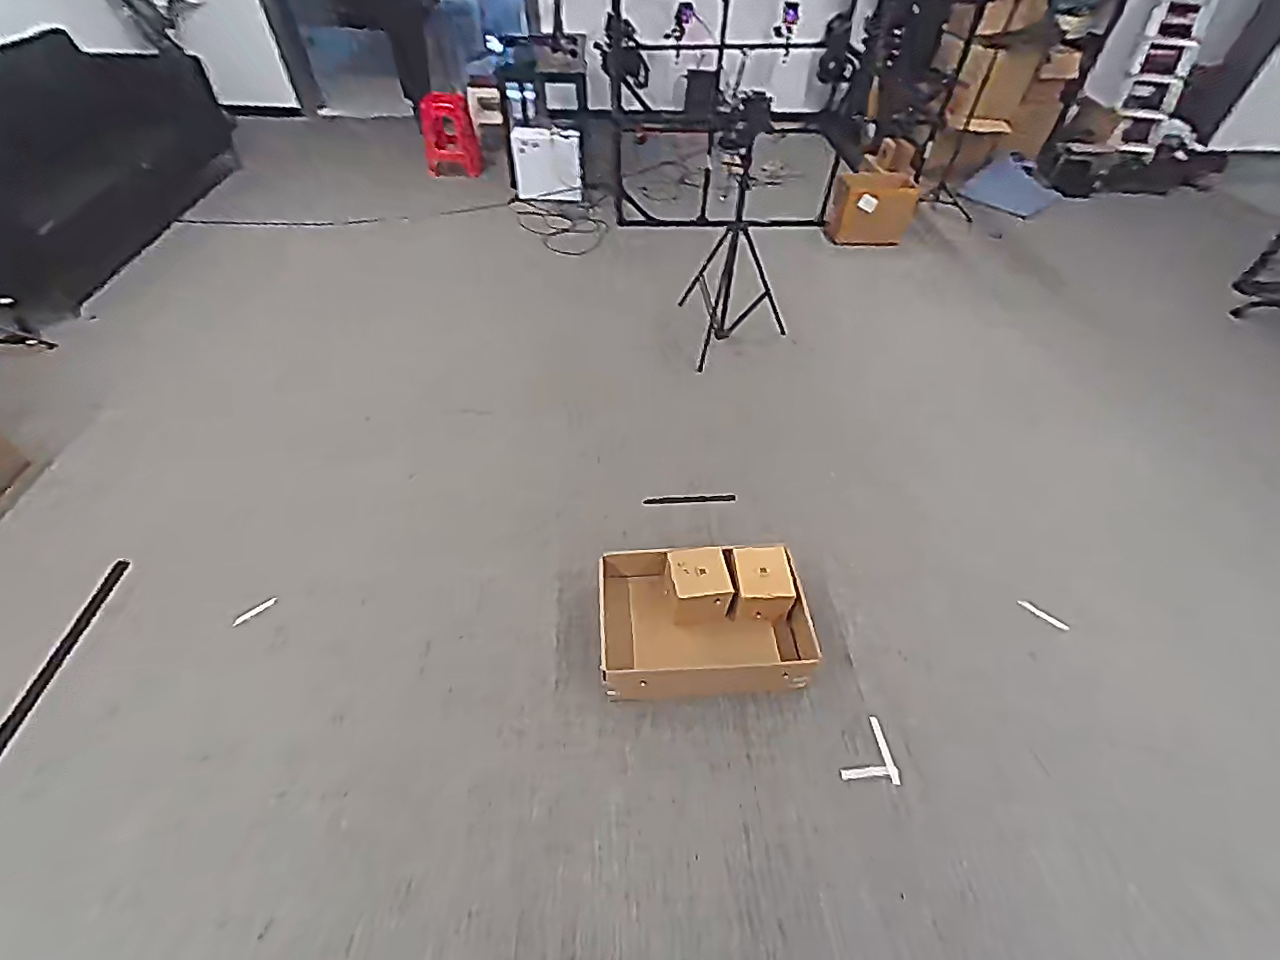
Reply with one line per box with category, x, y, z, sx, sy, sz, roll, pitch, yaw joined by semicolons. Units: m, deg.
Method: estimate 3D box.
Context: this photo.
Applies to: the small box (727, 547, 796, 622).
small box;0.376;0.333;1.716;0.168;0.176;0.179;-3;51;-2
